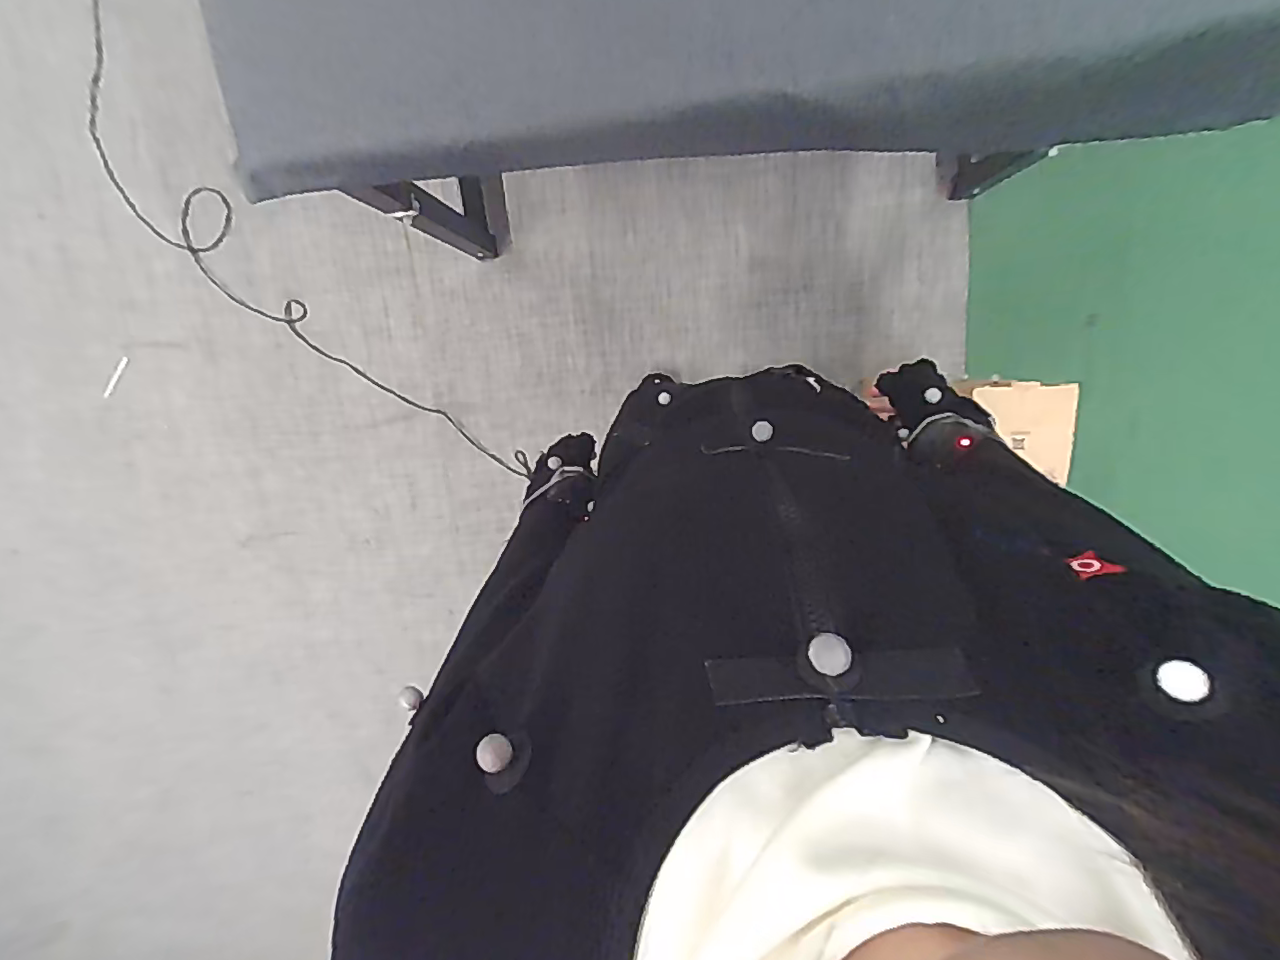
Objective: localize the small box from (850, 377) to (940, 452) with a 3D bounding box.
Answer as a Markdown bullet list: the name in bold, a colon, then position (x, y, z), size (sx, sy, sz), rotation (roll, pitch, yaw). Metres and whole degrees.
- **small box**: position (0.619, -0.160, 1.287), size (0.179, 0.176, 0.168), rotation (0, 102, 5)

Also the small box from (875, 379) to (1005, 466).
- **small box**: position (0.614, -0.125, 1.126), size (0.179, 0.176, 0.168), rotation (0, 101, 4)
